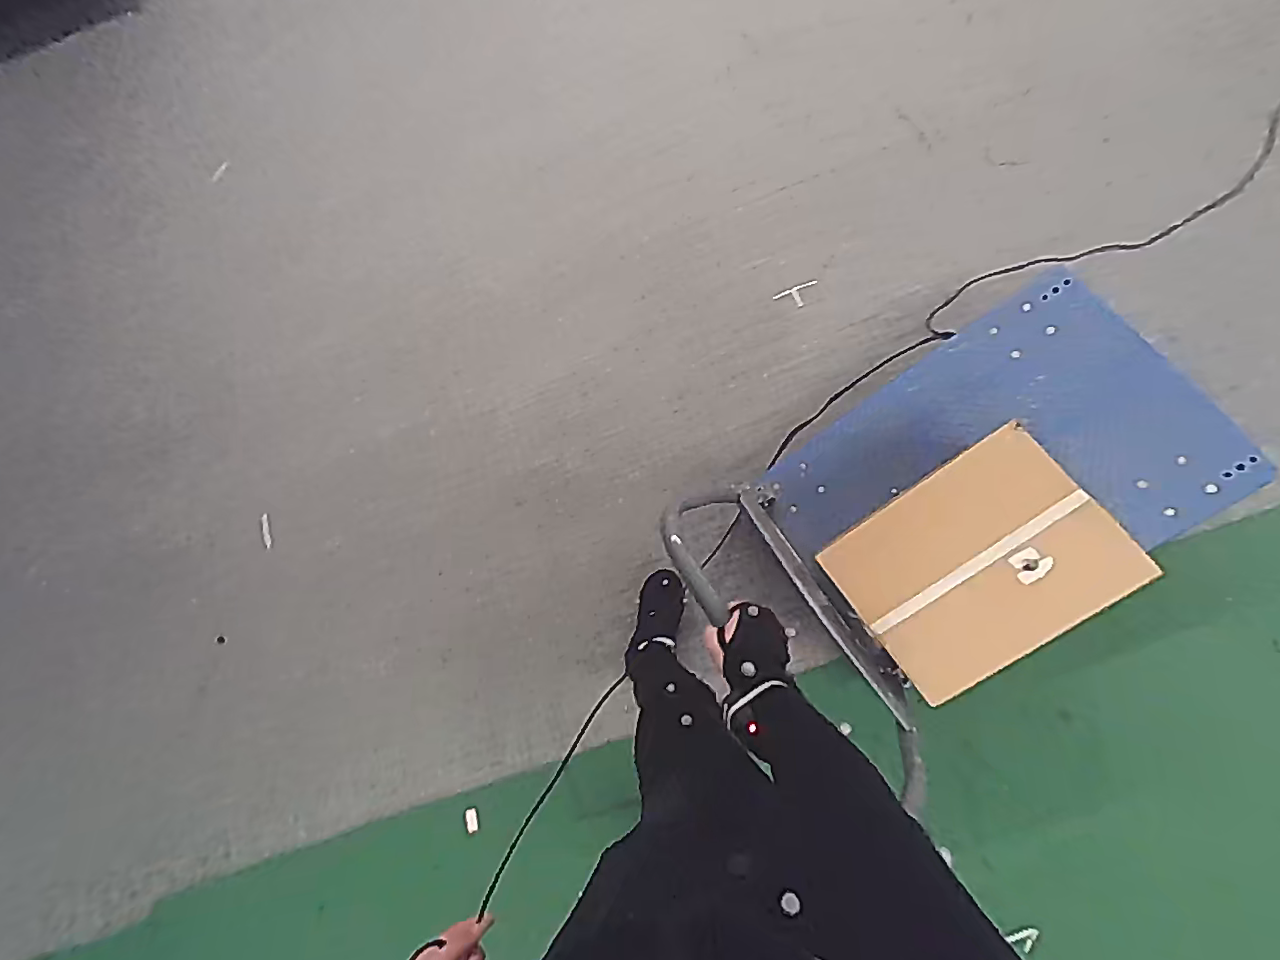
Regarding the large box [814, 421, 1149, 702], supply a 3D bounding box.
[{"bbox_3d":[0.600,0.153,1.051,0.408,0.320,0.320,-38,75,12],"label":"large box"}]
